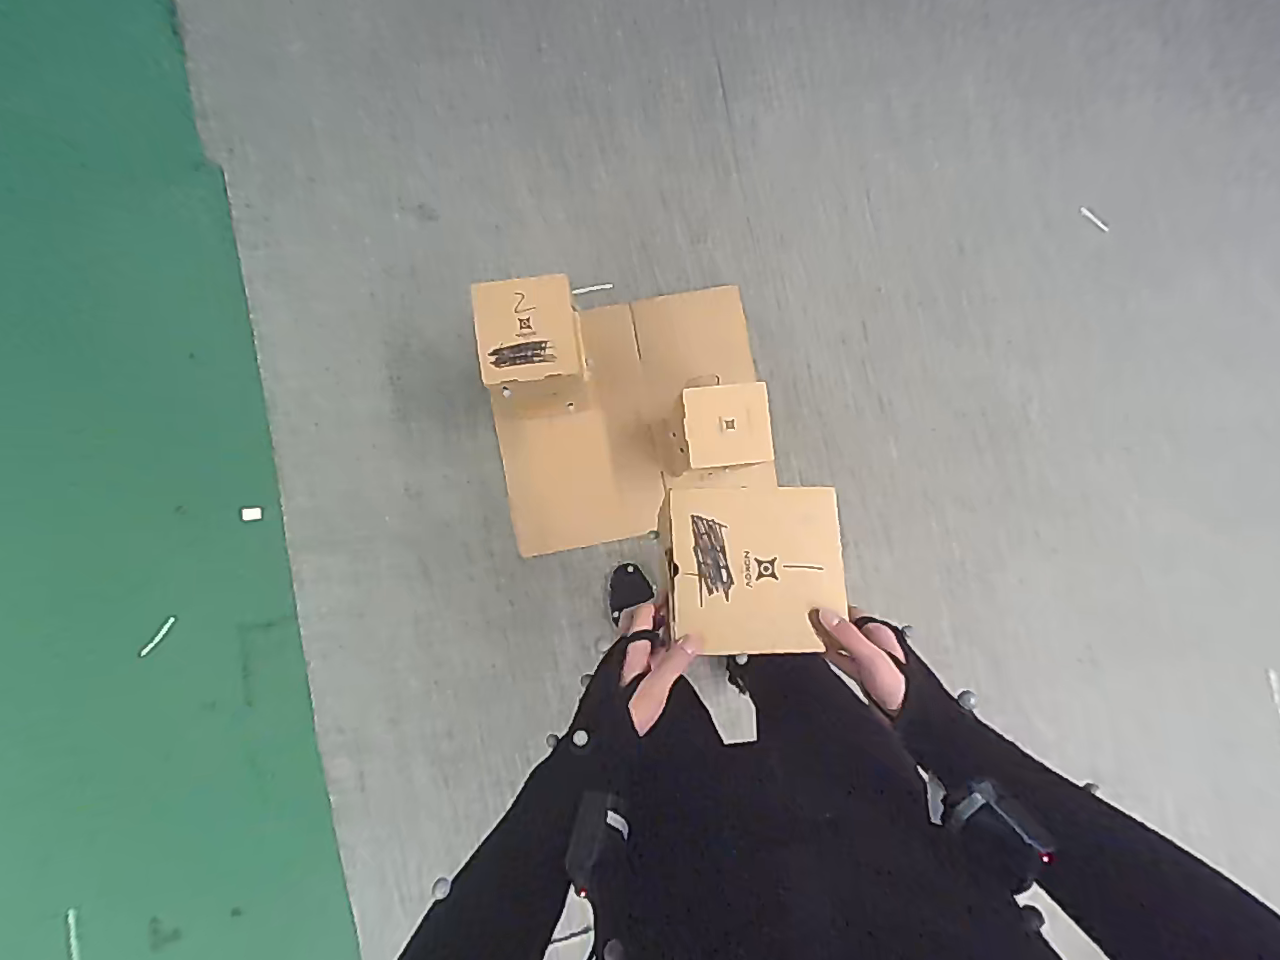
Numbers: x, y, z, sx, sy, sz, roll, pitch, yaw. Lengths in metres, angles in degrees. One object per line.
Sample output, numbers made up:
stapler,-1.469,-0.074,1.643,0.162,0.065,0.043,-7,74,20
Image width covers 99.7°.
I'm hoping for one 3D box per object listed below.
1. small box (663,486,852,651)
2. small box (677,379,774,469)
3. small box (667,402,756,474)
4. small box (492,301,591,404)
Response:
small box,0.117,0.103,0.616,0.179,0.176,0.168,0,78,-3
small box,0.176,-0.115,1.168,0.179,0.176,0.168,-5,89,-3
small box,0.171,-0.108,1.331,0.179,0.176,0.168,-8,88,-3
small box,-0.200,-0.265,1.153,0.179,0.176,0.168,-9,89,-2
